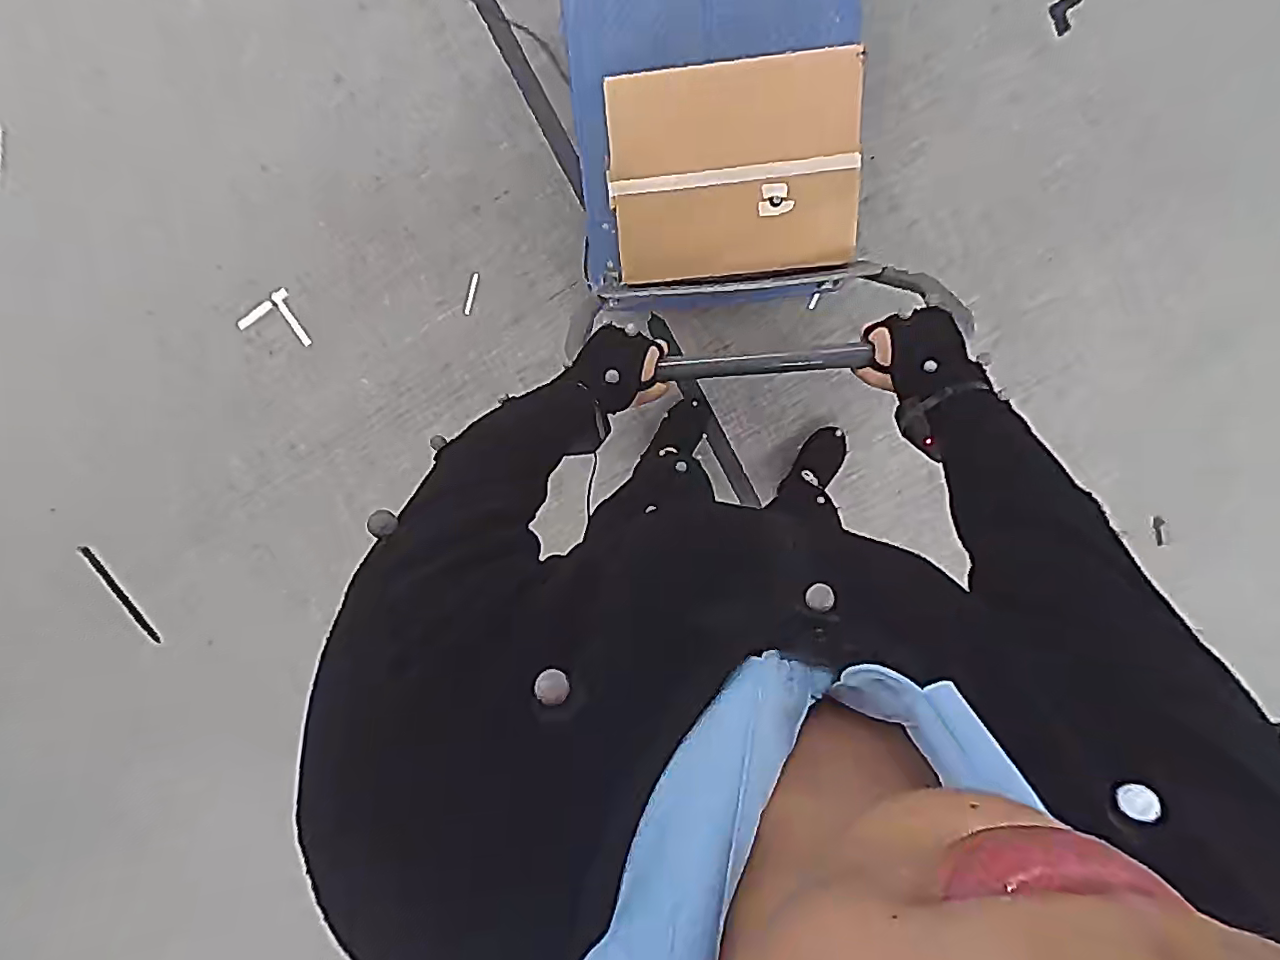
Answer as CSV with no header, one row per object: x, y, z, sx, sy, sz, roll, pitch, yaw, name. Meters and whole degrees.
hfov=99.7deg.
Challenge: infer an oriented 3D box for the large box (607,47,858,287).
0.165,-0.565,1.046,0.408,0.320,0.320,-5,112,5,large box
